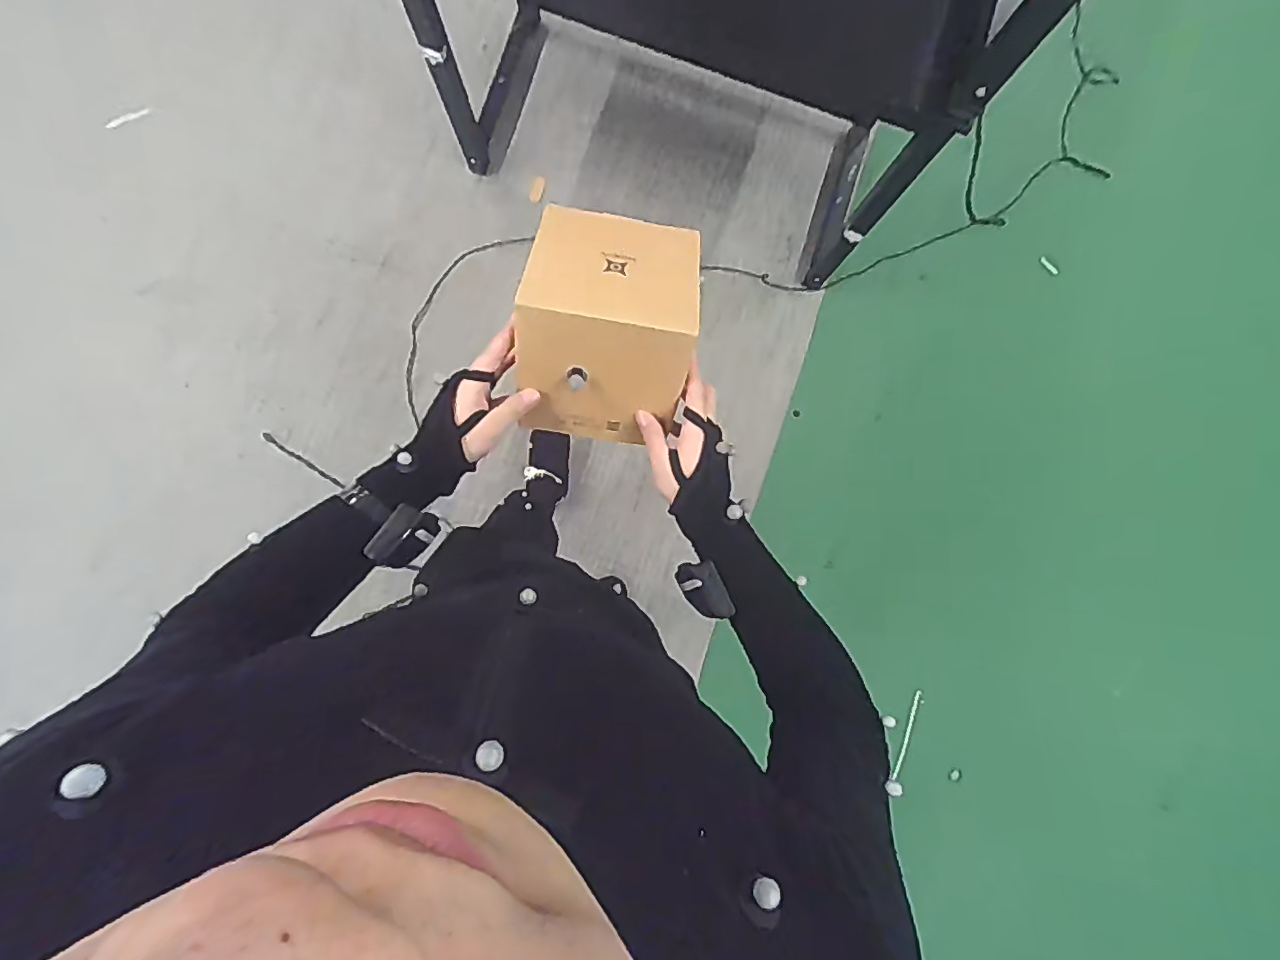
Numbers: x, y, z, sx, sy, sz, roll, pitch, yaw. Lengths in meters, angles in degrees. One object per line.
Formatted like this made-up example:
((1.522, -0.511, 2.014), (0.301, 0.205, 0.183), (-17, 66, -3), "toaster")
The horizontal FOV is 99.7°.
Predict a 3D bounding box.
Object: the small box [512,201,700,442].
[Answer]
((-0.034, -0.162, 0.578), (0.168, 0.176, 0.179), (8, 53, -5), "small box")
